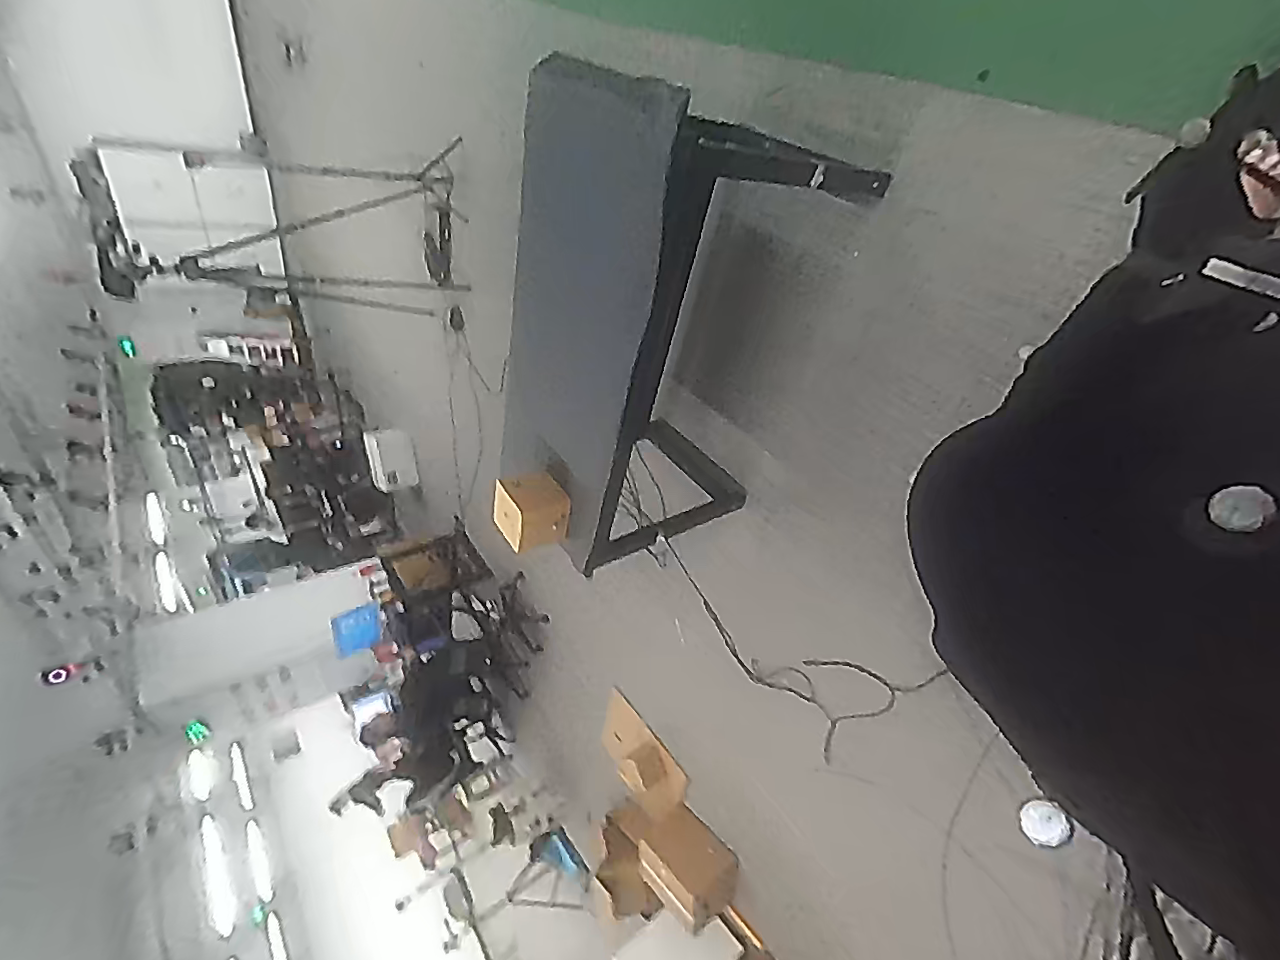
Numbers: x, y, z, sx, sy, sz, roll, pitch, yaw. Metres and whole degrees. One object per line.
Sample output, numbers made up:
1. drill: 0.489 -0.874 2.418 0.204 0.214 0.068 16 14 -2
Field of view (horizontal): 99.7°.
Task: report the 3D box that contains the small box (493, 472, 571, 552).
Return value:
1. small box: -0.335 0.091 1.667 0.179 0.176 0.168 45 135 35
